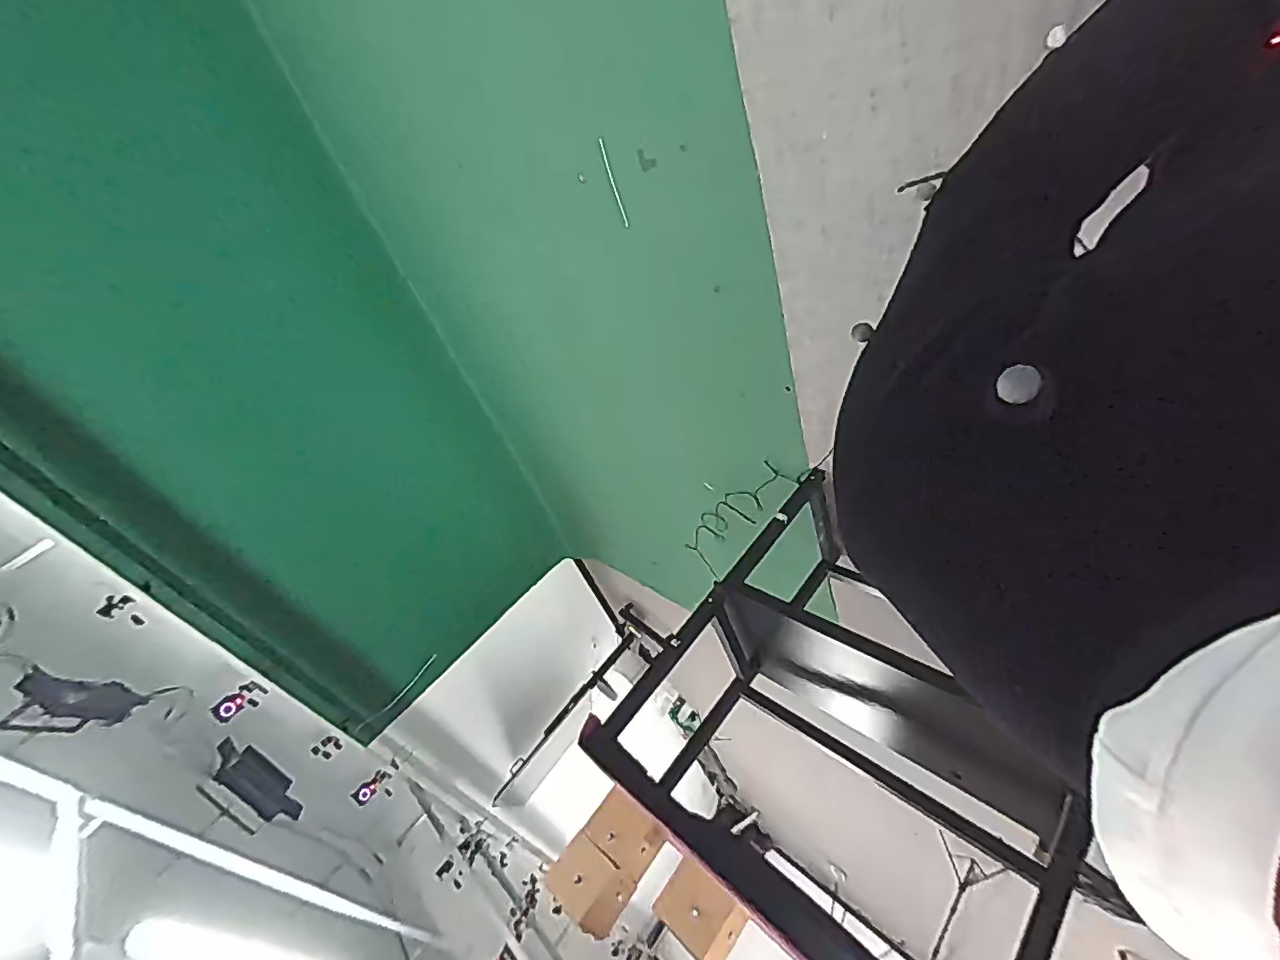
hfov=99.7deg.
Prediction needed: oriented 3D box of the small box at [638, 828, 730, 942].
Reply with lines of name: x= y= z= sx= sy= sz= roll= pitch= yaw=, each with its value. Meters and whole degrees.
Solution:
small box: x=0.129 y=1.099 z=1.475 sx=0.179 sy=0.176 sz=0.168 roll=20 pitch=146 yaw=40

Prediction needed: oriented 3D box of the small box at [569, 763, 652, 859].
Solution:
small box: x=-0.082 y=1.030 z=1.691 sx=0.179 sy=0.176 sz=0.168 roll=22 pitch=148 yaw=39

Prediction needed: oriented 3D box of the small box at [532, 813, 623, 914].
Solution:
small box: x=-0.184 y=1.137 z=1.620 sx=0.179 sy=0.176 sz=0.168 roll=15 pitch=143 yaw=43
